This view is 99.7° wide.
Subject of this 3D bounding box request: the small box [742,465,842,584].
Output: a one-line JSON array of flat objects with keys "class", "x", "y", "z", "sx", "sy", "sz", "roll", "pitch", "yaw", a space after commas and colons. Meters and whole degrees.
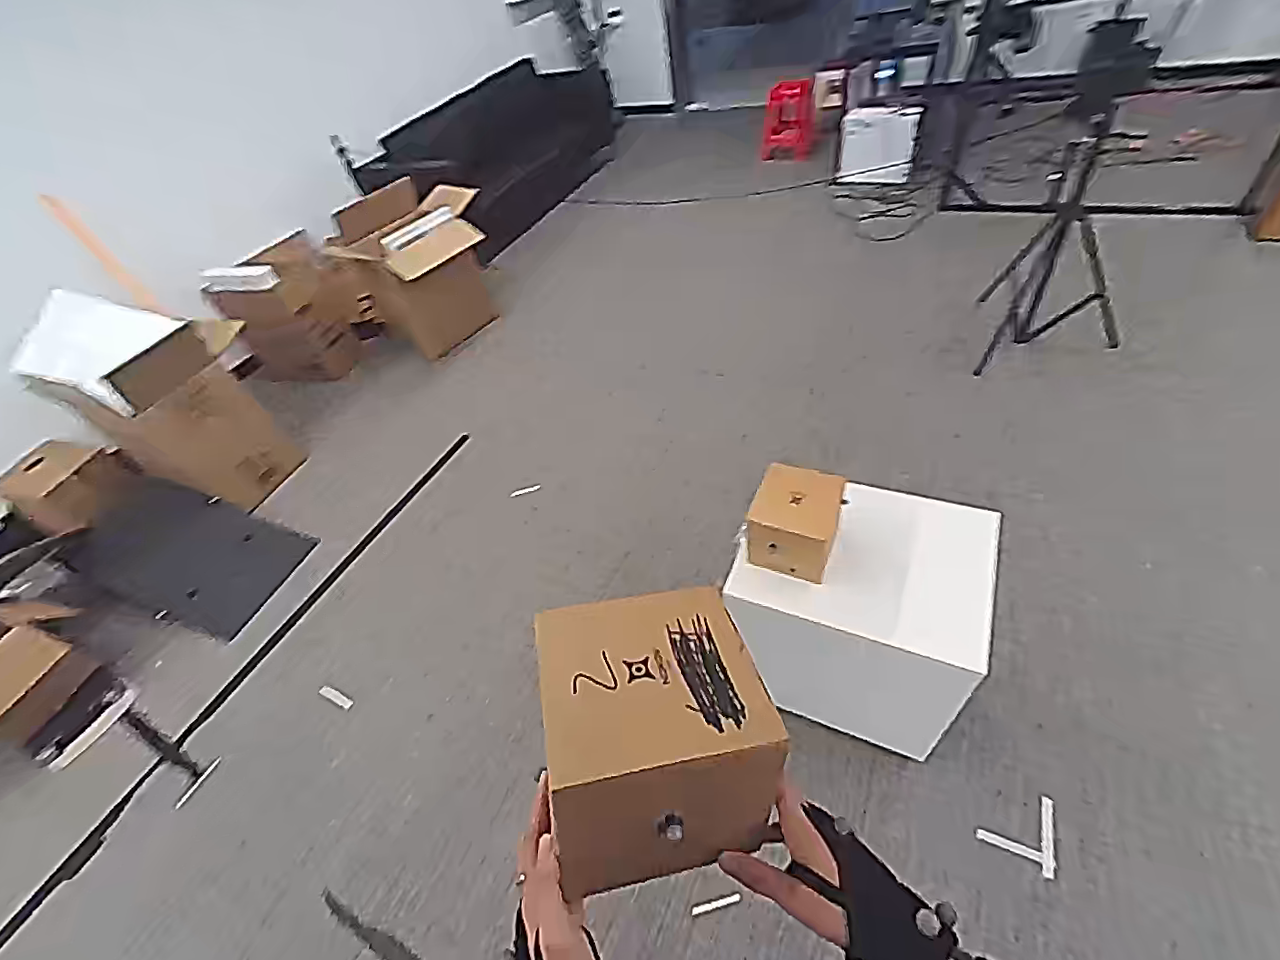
[{"class": "small box", "x": 0.331, "y": 0.099, "z": 1.177, "sx": 0.168, "sy": 0.176, "sz": 0.179, "roll": 14, "pitch": 52, "yaw": 24}]
